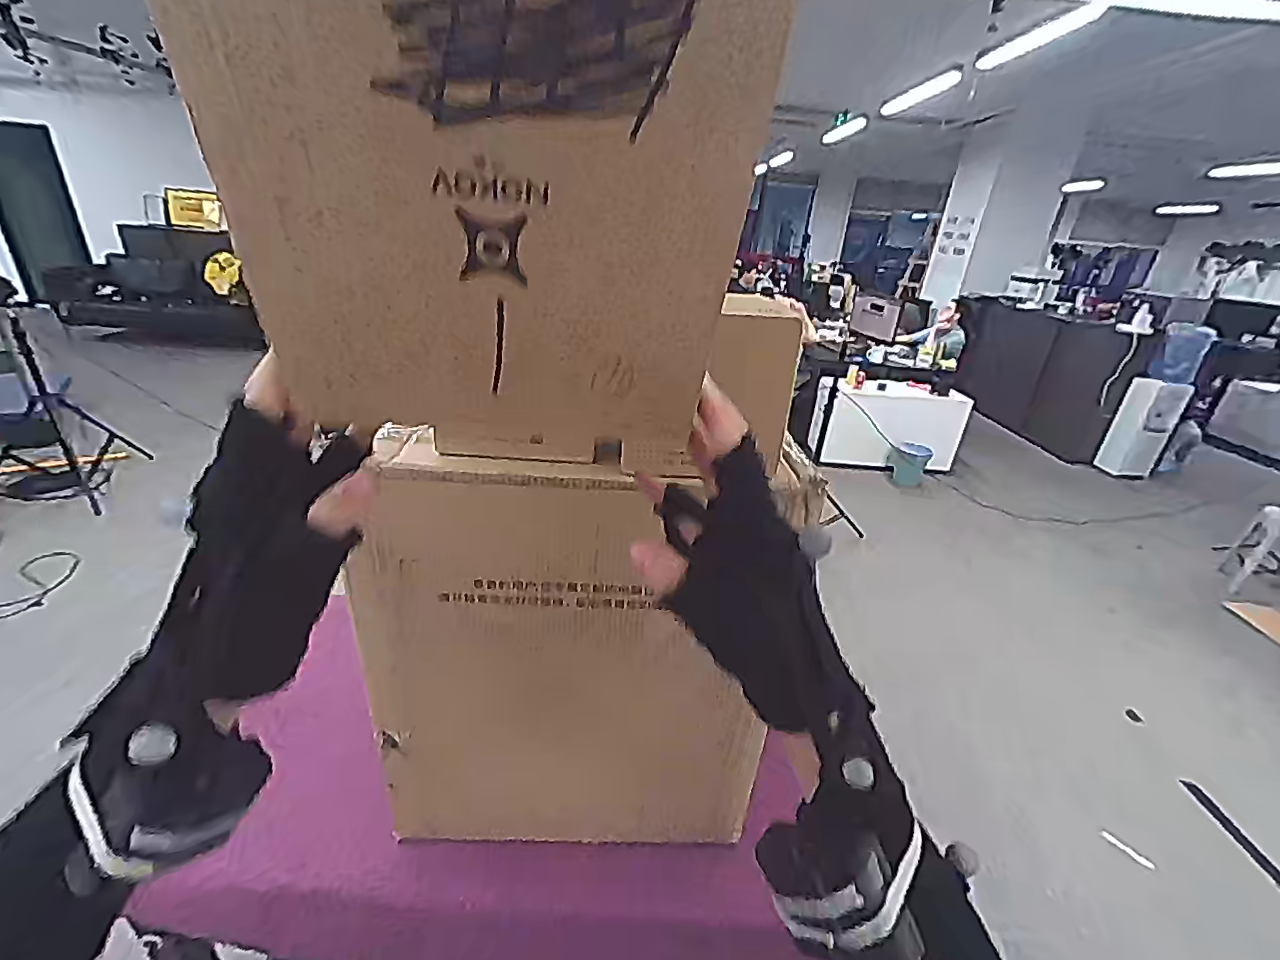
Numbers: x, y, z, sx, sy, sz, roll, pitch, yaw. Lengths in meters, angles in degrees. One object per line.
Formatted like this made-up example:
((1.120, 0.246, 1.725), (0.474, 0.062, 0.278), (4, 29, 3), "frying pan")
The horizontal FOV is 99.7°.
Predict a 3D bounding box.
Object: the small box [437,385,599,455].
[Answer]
((-0.126, -0.136, 0.609), (0.168, 0.176, 0.179), (5, 24, -6), "small box")

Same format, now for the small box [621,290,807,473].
((0.065, -0.119, 0.603), (0.168, 0.176, 0.179), (2, 24, -4), "small box")
